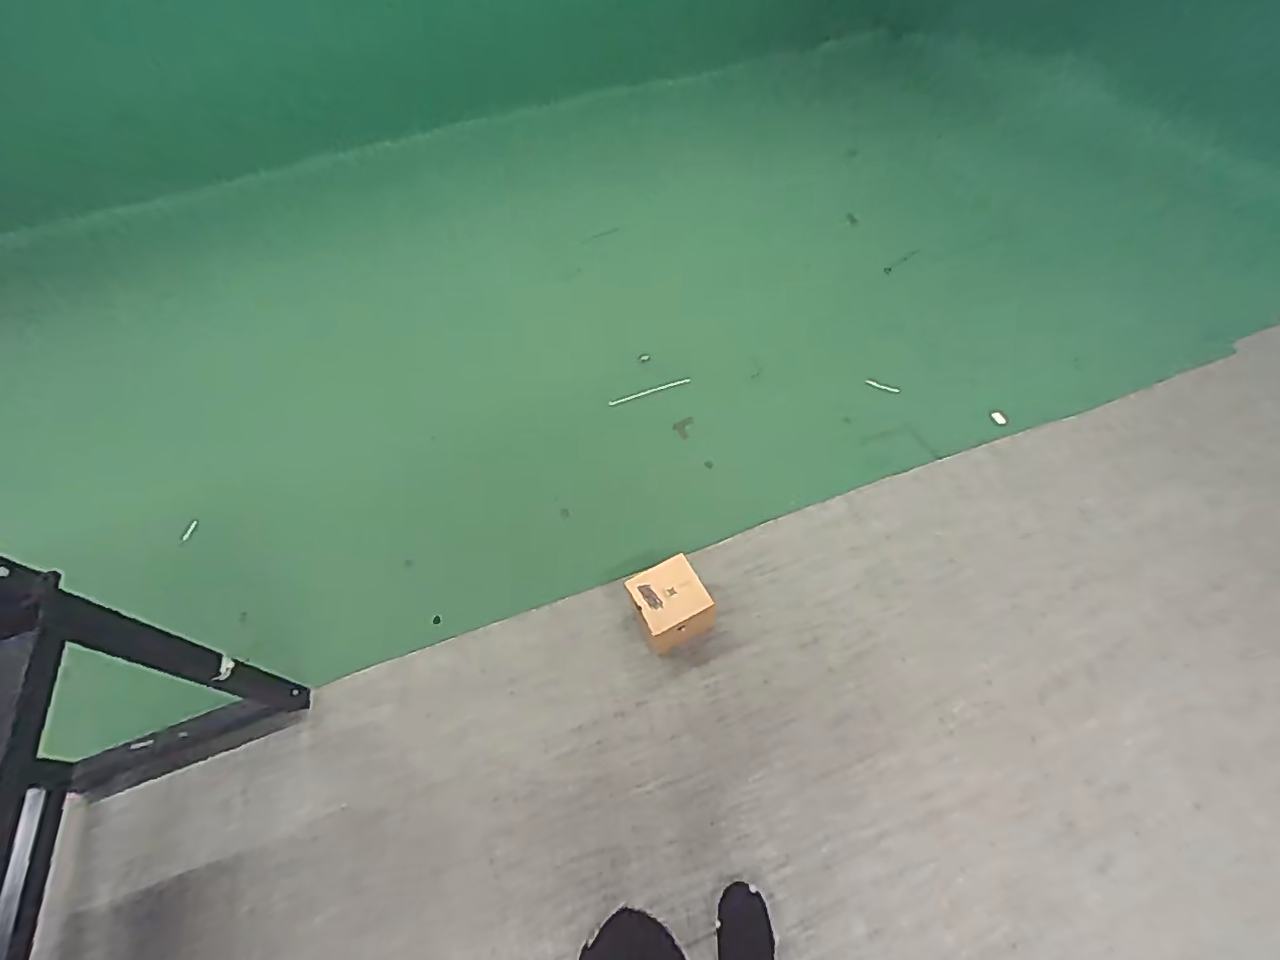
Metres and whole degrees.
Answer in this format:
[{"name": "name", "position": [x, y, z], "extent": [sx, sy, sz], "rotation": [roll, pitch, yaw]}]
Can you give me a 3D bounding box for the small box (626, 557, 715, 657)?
[{"name": "small box", "position": [0.082, 0.339, 1.422], "extent": [0.179, 0.176, 0.168], "rotation": [-24, 58, -12]}]
